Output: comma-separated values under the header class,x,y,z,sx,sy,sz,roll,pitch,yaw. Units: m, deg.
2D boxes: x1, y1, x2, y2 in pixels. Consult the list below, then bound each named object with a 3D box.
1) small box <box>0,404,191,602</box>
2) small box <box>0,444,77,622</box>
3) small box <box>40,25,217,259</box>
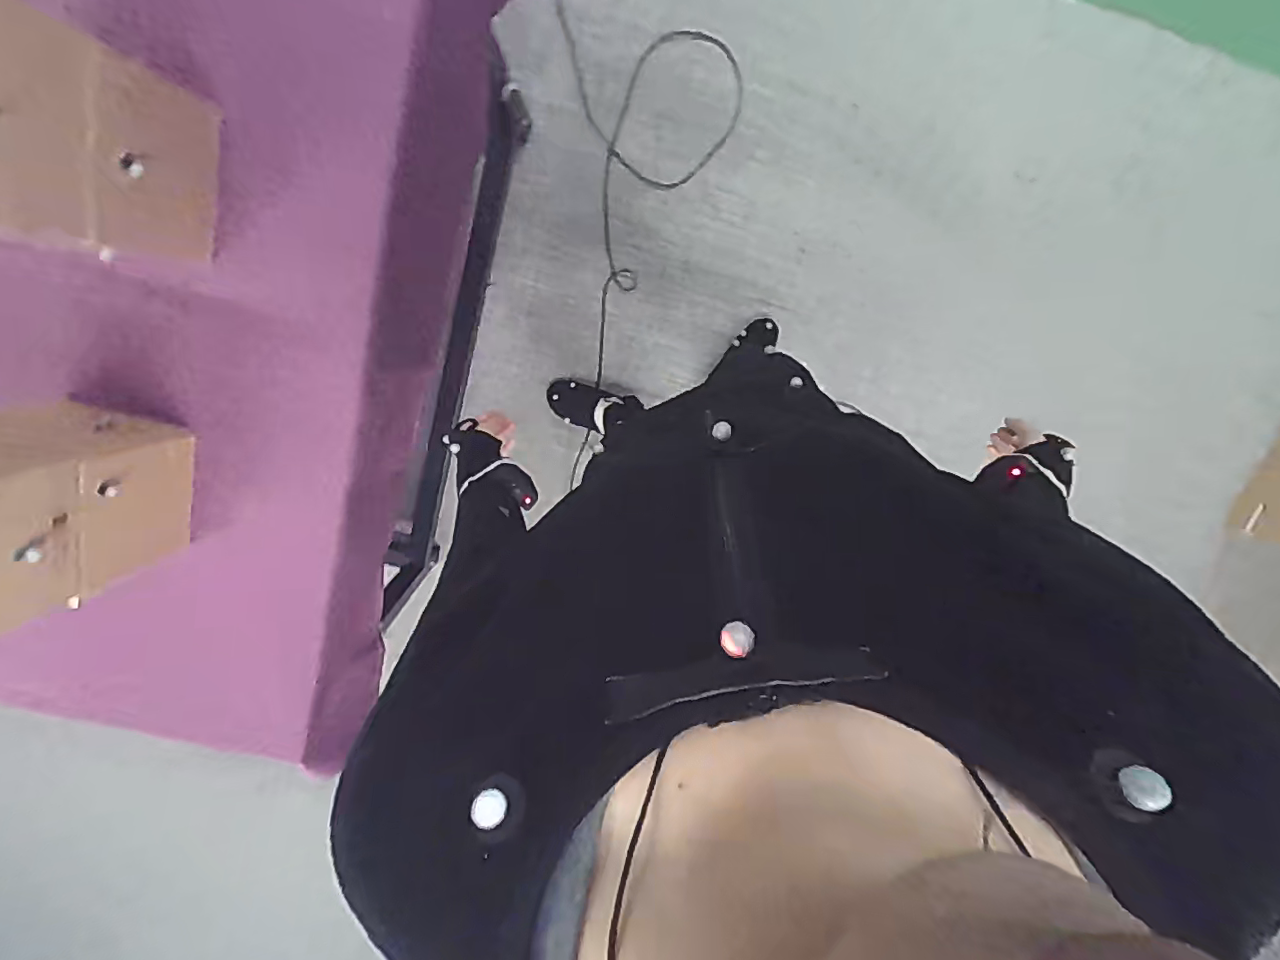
class,x,y,z,sx,sy,sz,roll,pitch,yaw
small box,-0.693,0.018,0.657,0.168,0.176,0.179,13,104,-5
small box,-0.690,0.054,0.496,0.179,0.176,0.168,14,105,-5
small box,-0.581,-0.344,0.557,0.168,0.176,0.179,15,104,-7
